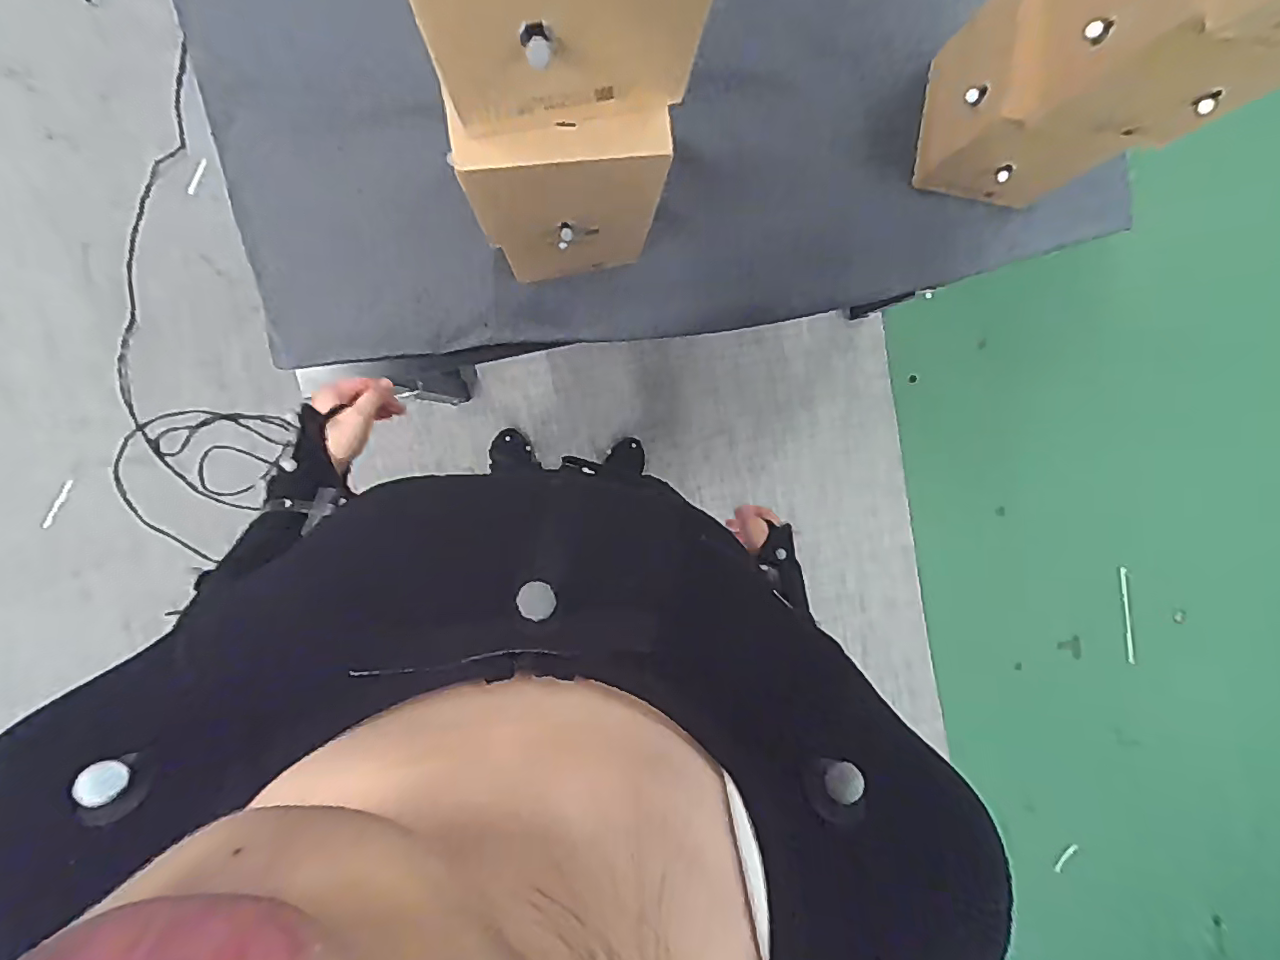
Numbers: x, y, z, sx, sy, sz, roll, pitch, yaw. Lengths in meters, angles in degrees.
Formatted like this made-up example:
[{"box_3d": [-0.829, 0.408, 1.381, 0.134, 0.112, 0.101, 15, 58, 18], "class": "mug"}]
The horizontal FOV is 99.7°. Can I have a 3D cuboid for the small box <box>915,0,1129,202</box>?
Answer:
[{"box_3d": [0.472, -0.475, 0.669, 0.168, 0.176, 0.179, 7, 93, -6], "class": "small box"}]

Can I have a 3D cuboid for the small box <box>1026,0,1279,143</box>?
[{"box_3d": [0.508, -0.455, 0.511, 0.168, 0.176, 0.179, 2, 93, -7], "class": "small box"}]

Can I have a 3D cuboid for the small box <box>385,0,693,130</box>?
[{"box_3d": [-0.063, -0.332, 0.306, 0.168, 0.176, 0.179, -13, 96, -4], "class": "small box"}]

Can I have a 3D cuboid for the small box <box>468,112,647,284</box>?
[{"box_3d": [-0.096, -0.352, 0.632, 0.168, 0.176, 0.179, -13, 96, -4], "class": "small box"}]
